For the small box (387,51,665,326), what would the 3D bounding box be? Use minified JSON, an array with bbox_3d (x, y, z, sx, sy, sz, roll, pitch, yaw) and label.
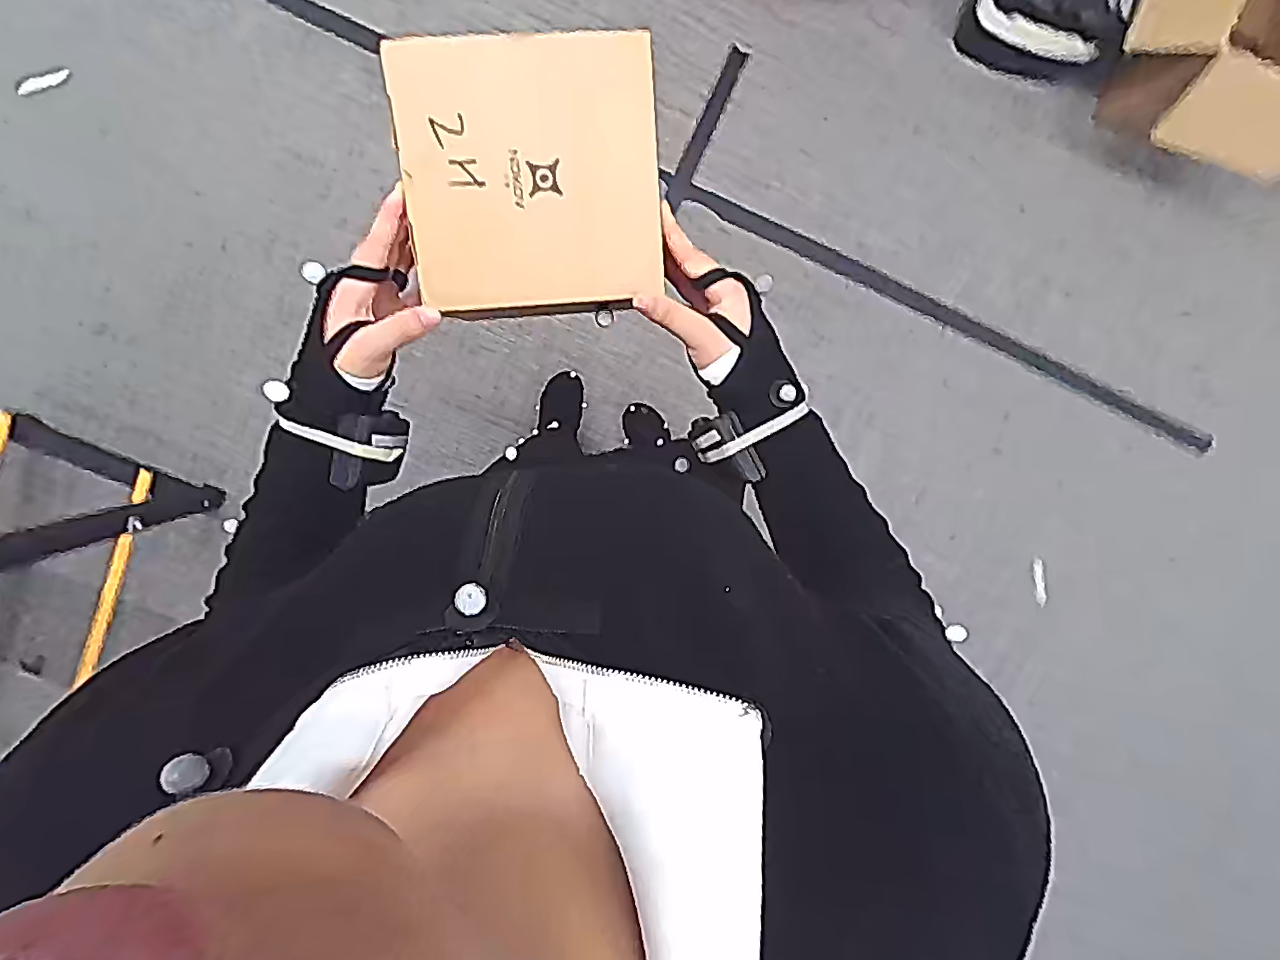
[{"bbox_3d":[-0.081,-0.221,0.453,0.179,0.176,0.168,-6,104,-4],"label":"small box"}]
